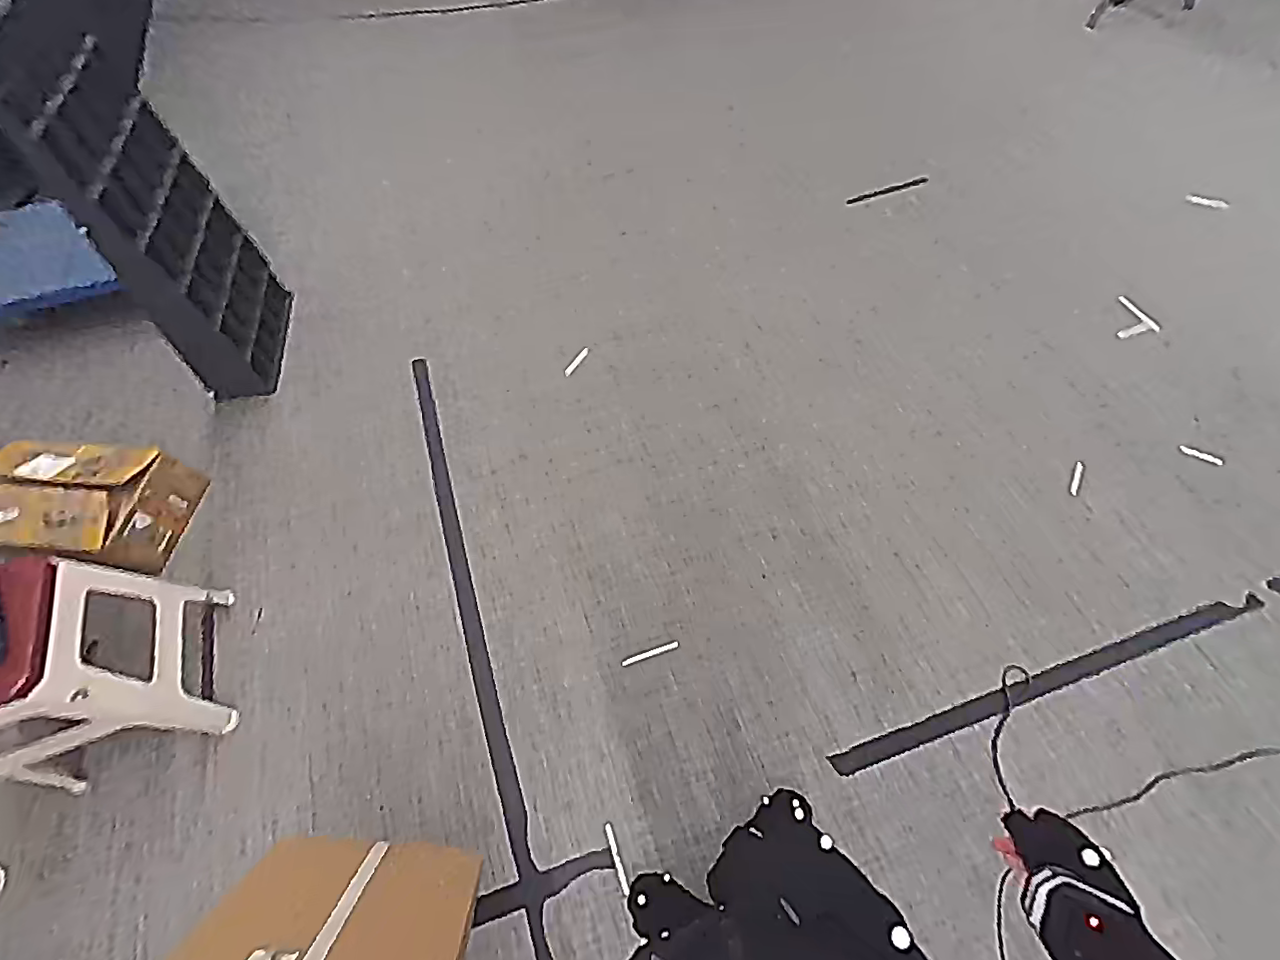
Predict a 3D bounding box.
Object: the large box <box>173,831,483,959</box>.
[{"bbox_3d":[-0.405,0.713,0.659,0.320,0.408,0.320,10,84,-6],"label":"large box"}]
